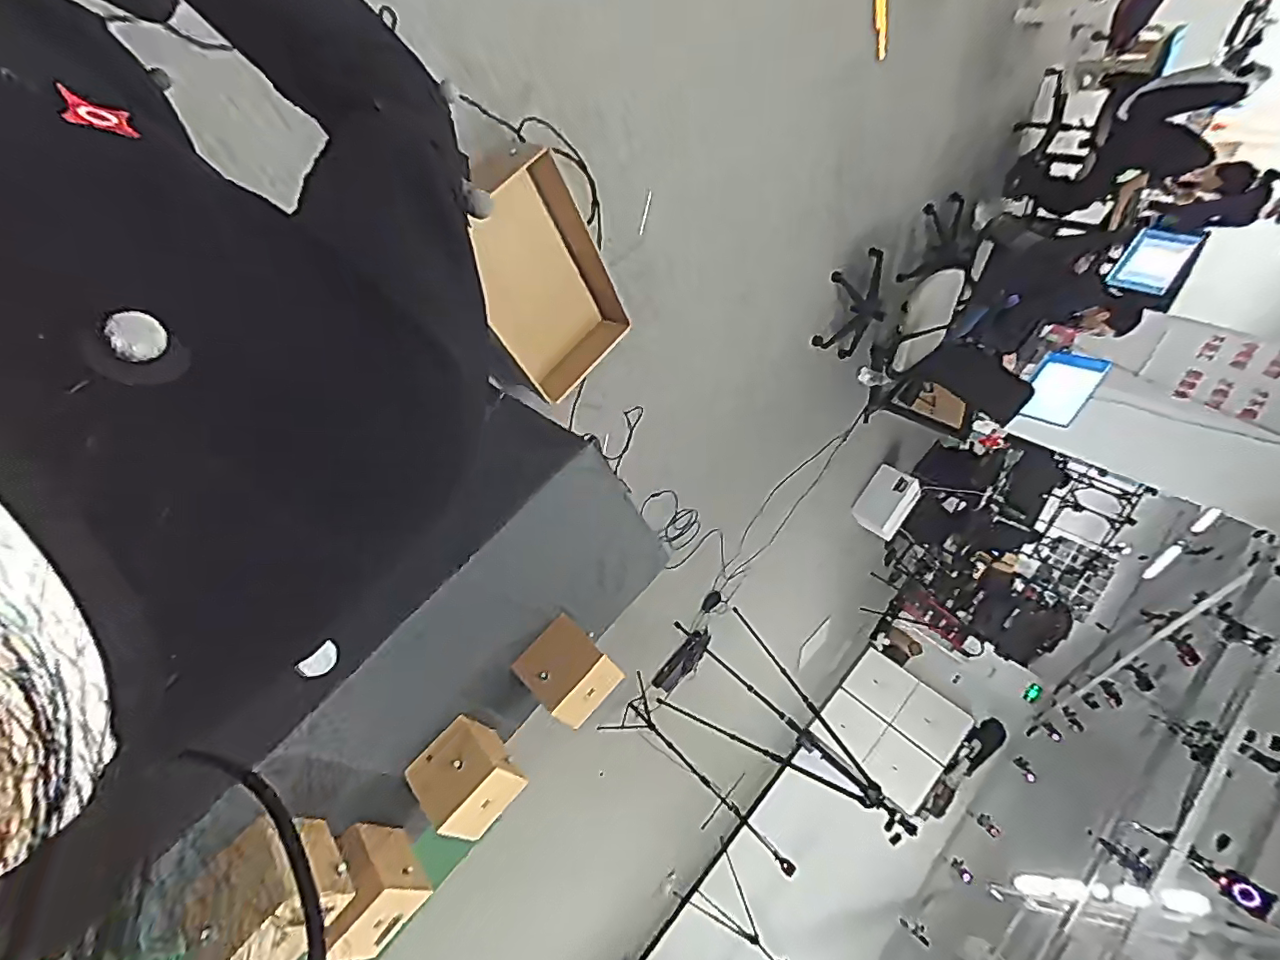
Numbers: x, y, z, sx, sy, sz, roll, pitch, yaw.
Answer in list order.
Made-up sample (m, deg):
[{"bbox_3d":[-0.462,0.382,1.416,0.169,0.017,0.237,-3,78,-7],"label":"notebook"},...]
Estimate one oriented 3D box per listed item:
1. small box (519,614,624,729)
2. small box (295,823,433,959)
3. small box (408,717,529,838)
[{"bbox_3d":[-0.173,0.468,1.331,0.179,0.176,0.168,-44,143,-15],"label":"small box"},{"bbox_3d":[-0.590,0.876,1.161,0.168,0.176,0.179,-45,142,-17],"label":"small box"},{"bbox_3d":[-0.394,0.677,1.240,0.168,0.176,0.179,-44,143,-17],"label":"small box"}]
